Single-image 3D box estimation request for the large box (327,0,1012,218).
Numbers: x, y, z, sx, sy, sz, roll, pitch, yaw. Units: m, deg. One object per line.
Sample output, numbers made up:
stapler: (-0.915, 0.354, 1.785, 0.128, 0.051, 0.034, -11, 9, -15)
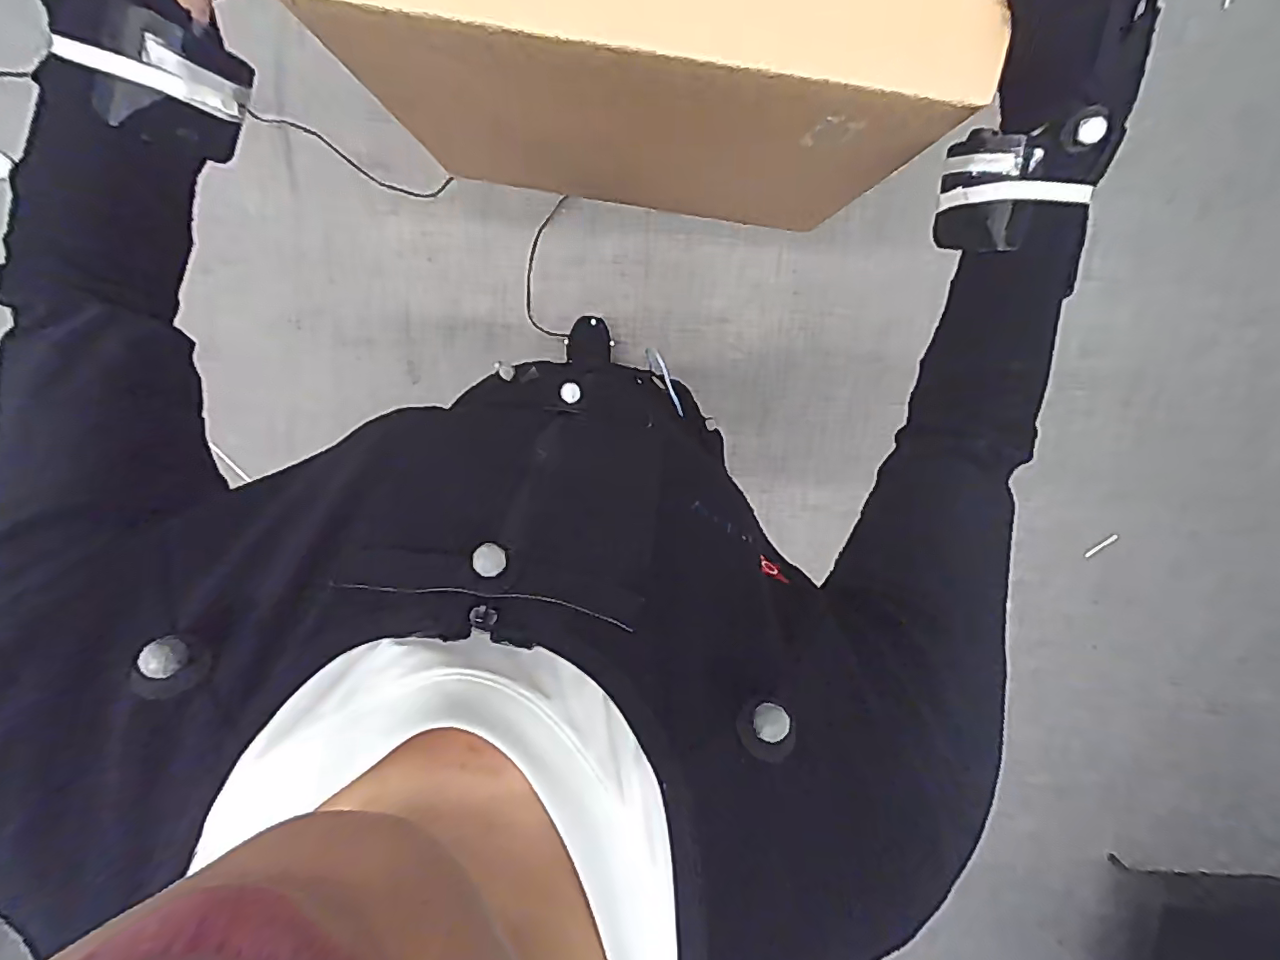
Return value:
large box: (0.022, -0.428, 0.420, 0.408, 0.320, 0.320, 7, 103, -4)
